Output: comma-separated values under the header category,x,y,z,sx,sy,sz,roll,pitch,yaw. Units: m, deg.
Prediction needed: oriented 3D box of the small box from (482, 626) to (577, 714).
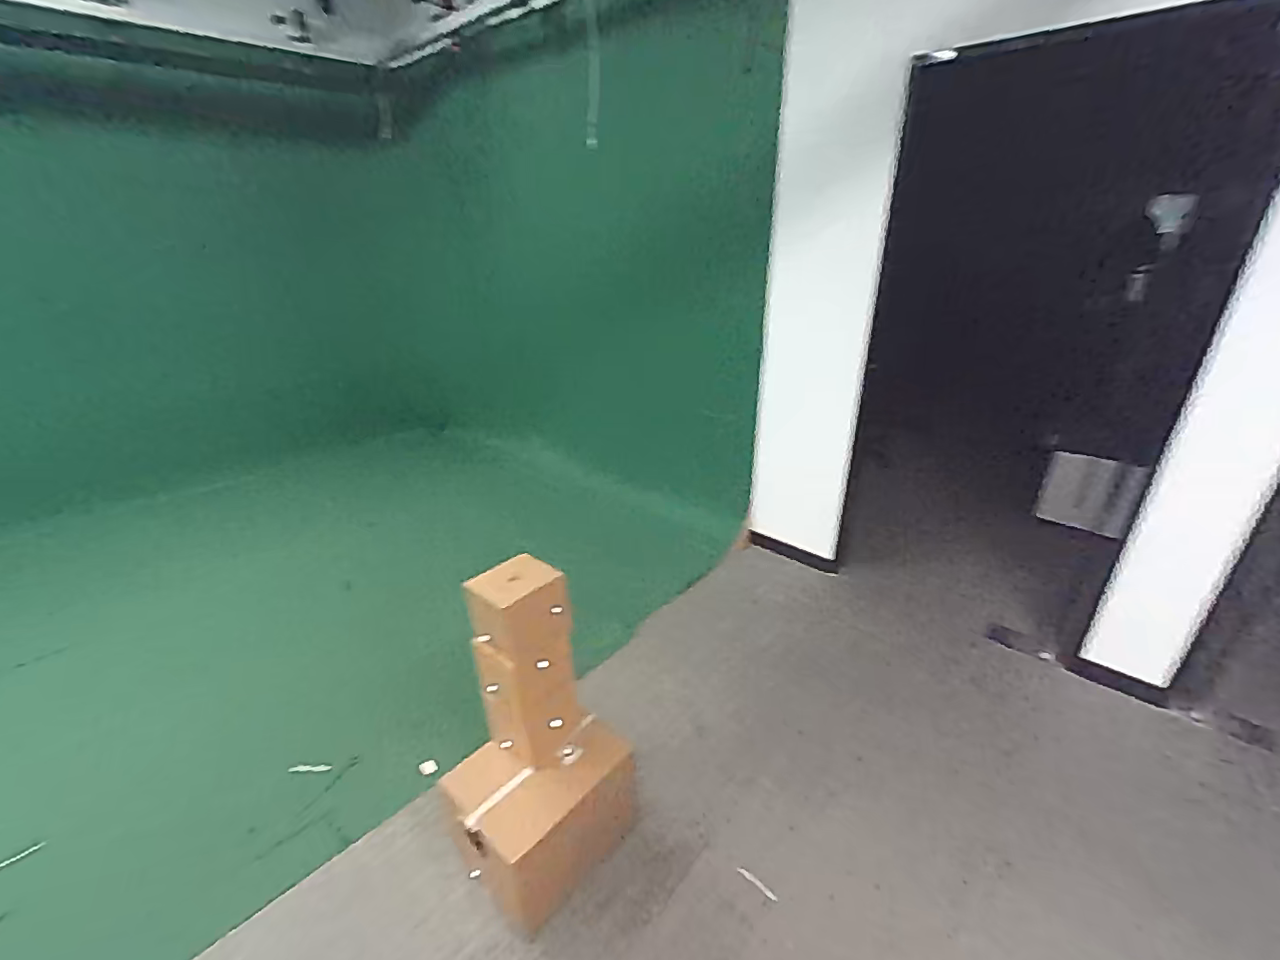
category,x,y,z,sx,sy,sz,roll,pitch,yaw
small box,-0.276,0.456,1.388,0.168,0.176,0.179,16,32,39

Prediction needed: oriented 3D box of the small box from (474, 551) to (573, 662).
category,x,y,z,sx,sy,sz,roll,pitch,yaw
small box,-0.278,0.305,1.325,0.168,0.176,0.179,17,32,41

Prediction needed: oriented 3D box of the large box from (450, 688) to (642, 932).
category,x,y,z,sx,sy,sz,roll,pitch,yaw
large box,-0.238,0.866,1.471,0.320,0.320,0.408,19,32,38
